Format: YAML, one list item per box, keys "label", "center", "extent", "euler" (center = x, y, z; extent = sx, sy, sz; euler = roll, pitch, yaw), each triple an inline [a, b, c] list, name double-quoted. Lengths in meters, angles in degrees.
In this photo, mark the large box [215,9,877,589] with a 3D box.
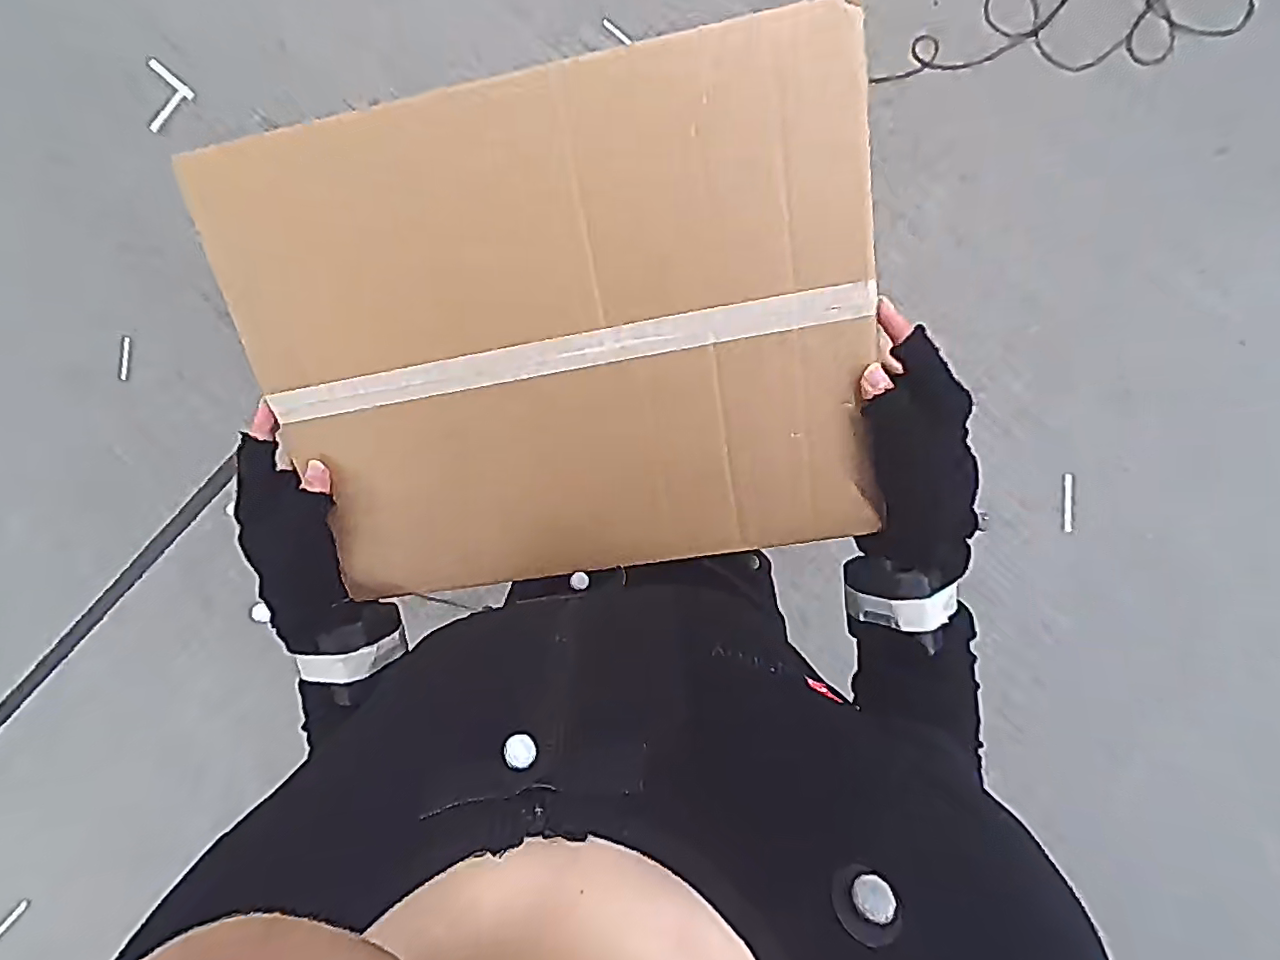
- label: "large box"
  center: [-0.044, -0.132, 0.504]
  extent: [0.408, 0.320, 0.320]
  euler: [-8, 109, 7]
